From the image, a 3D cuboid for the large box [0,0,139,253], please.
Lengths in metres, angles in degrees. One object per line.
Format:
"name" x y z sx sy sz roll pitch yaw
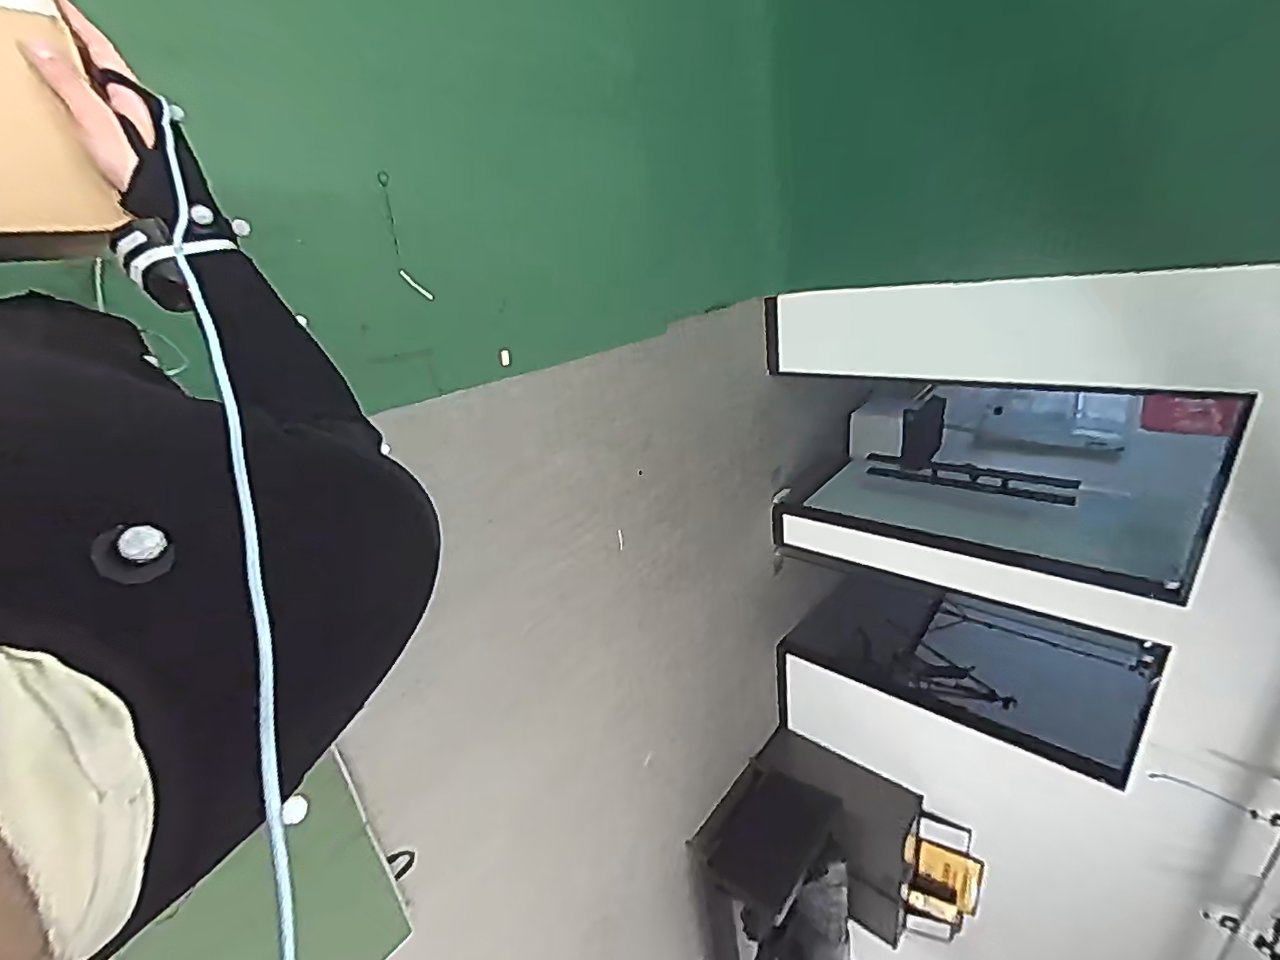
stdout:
"large box" -0.692 -0.328 0.375 0.408 0.320 0.320 -28 121 -43
